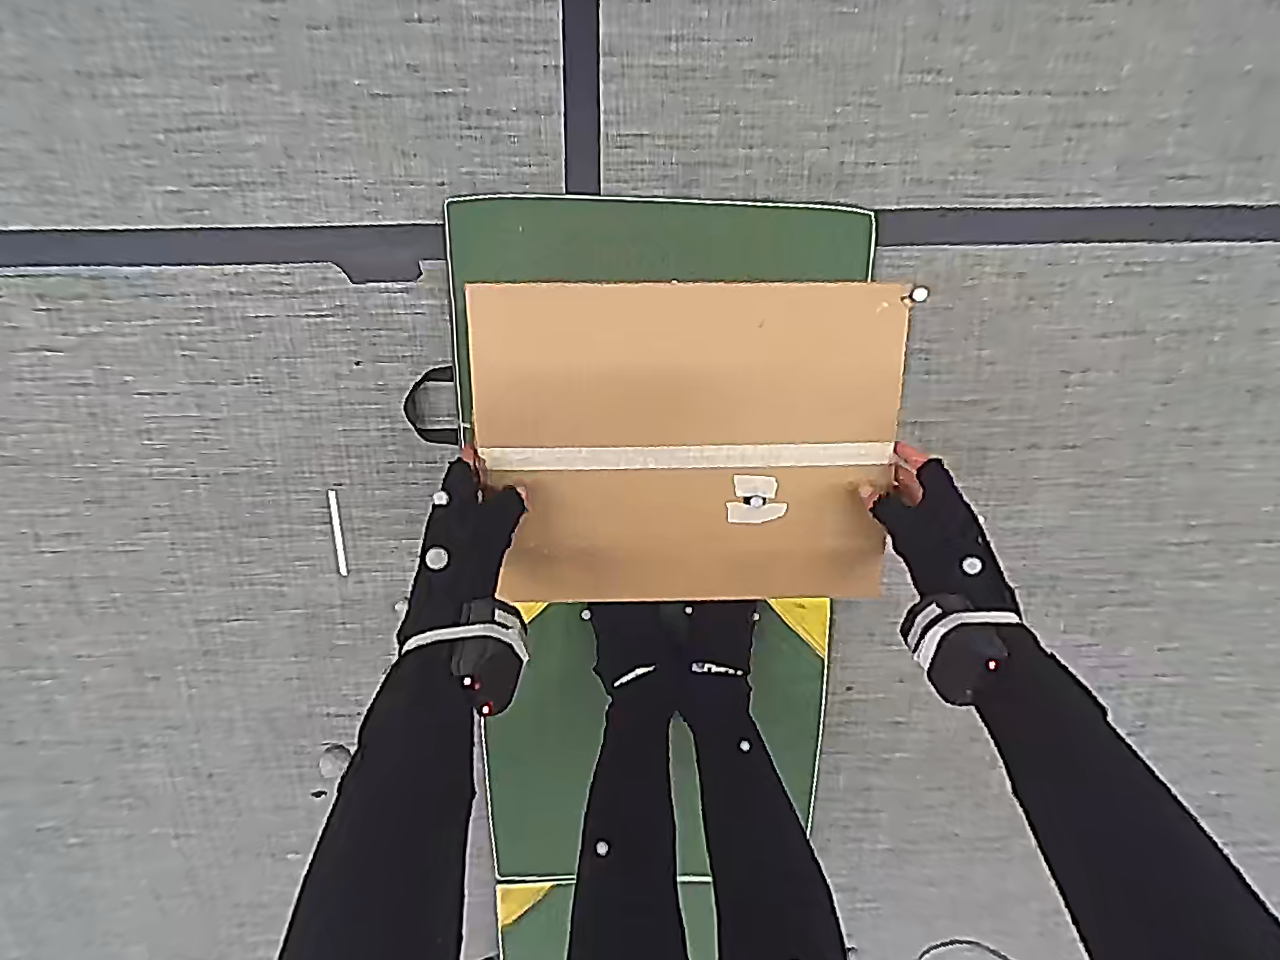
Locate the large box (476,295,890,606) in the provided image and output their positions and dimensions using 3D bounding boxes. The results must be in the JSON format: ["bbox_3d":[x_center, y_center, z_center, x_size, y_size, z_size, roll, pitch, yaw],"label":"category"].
[{"bbox_3d":[0.039,-0.054,0.690,0.408,0.320,0.320,-1,104,-2],"label":"large box"}]
